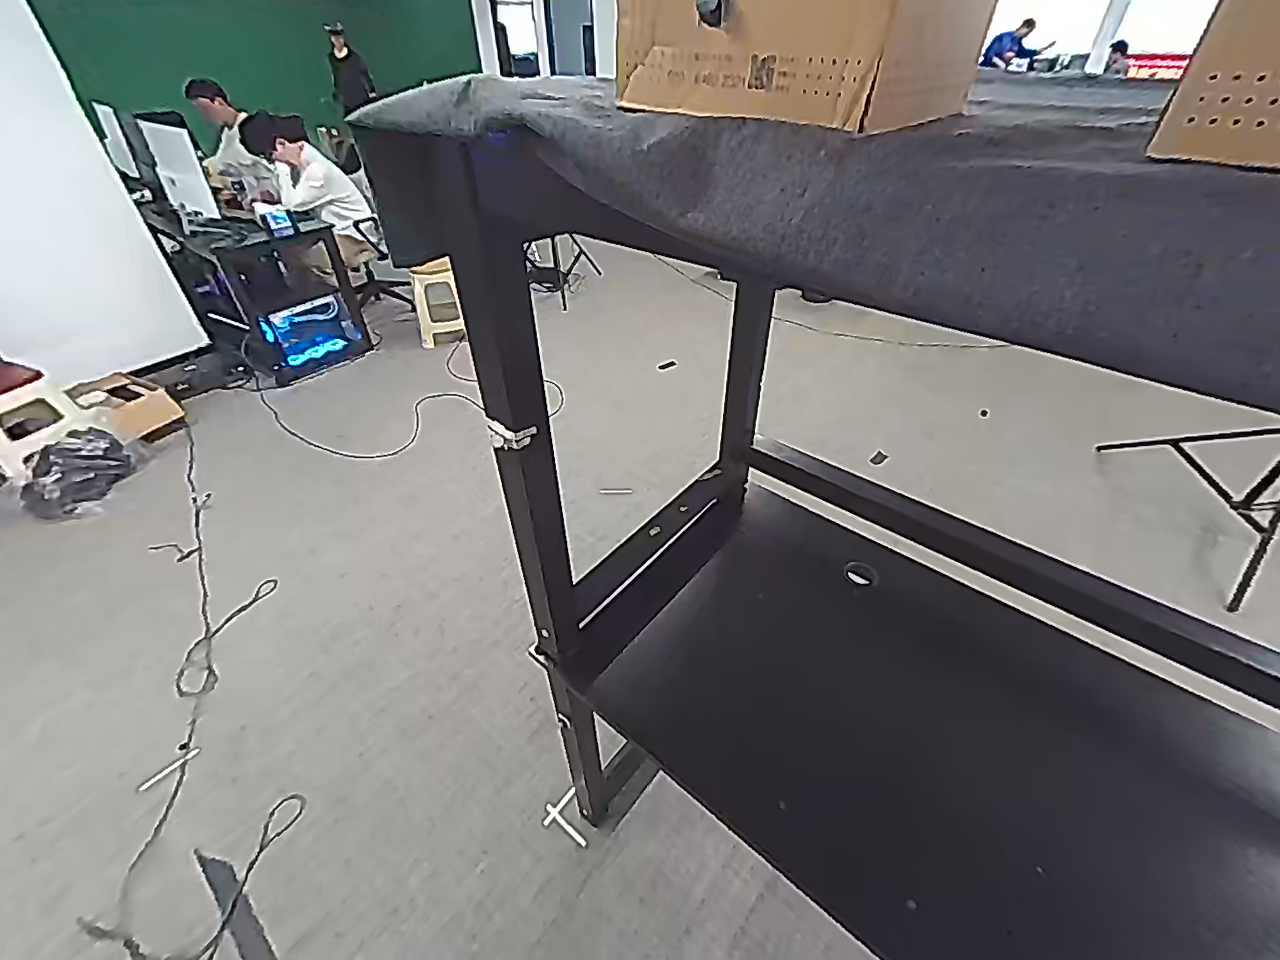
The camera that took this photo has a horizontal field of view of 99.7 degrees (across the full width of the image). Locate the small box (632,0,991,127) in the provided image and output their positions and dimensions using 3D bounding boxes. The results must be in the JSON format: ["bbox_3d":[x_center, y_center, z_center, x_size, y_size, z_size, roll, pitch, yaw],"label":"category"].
[{"bbox_3d":[0.105,-0.312,0.304,0.168,0.176,0.179,28,46,29],"label":"small box"}]
